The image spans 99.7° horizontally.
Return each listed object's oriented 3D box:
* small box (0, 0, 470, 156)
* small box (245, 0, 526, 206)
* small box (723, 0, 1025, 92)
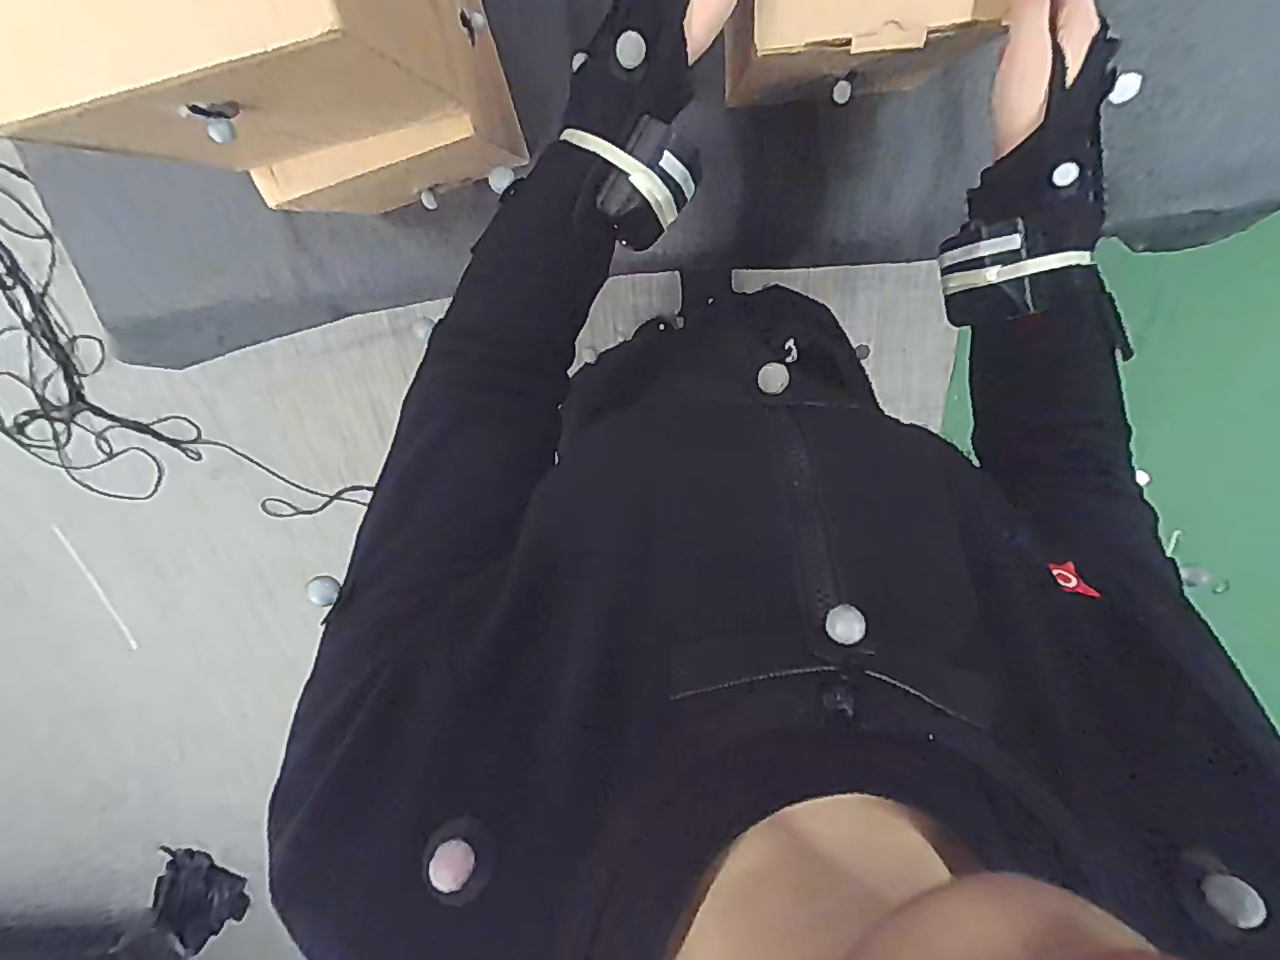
[{"bbox_3d":[-0.209,-0.270,0.257,0.179,0.176,0.168,-10,116,6],"label":"small box"},{"bbox_3d":[-0.205,-0.325,0.411,0.168,0.176,0.179,-13,114,9],"label":"small box"},{"bbox_3d":[0.147,-0.386,0.368,0.168,0.176,0.179,-4,116,5],"label":"small box"}]
